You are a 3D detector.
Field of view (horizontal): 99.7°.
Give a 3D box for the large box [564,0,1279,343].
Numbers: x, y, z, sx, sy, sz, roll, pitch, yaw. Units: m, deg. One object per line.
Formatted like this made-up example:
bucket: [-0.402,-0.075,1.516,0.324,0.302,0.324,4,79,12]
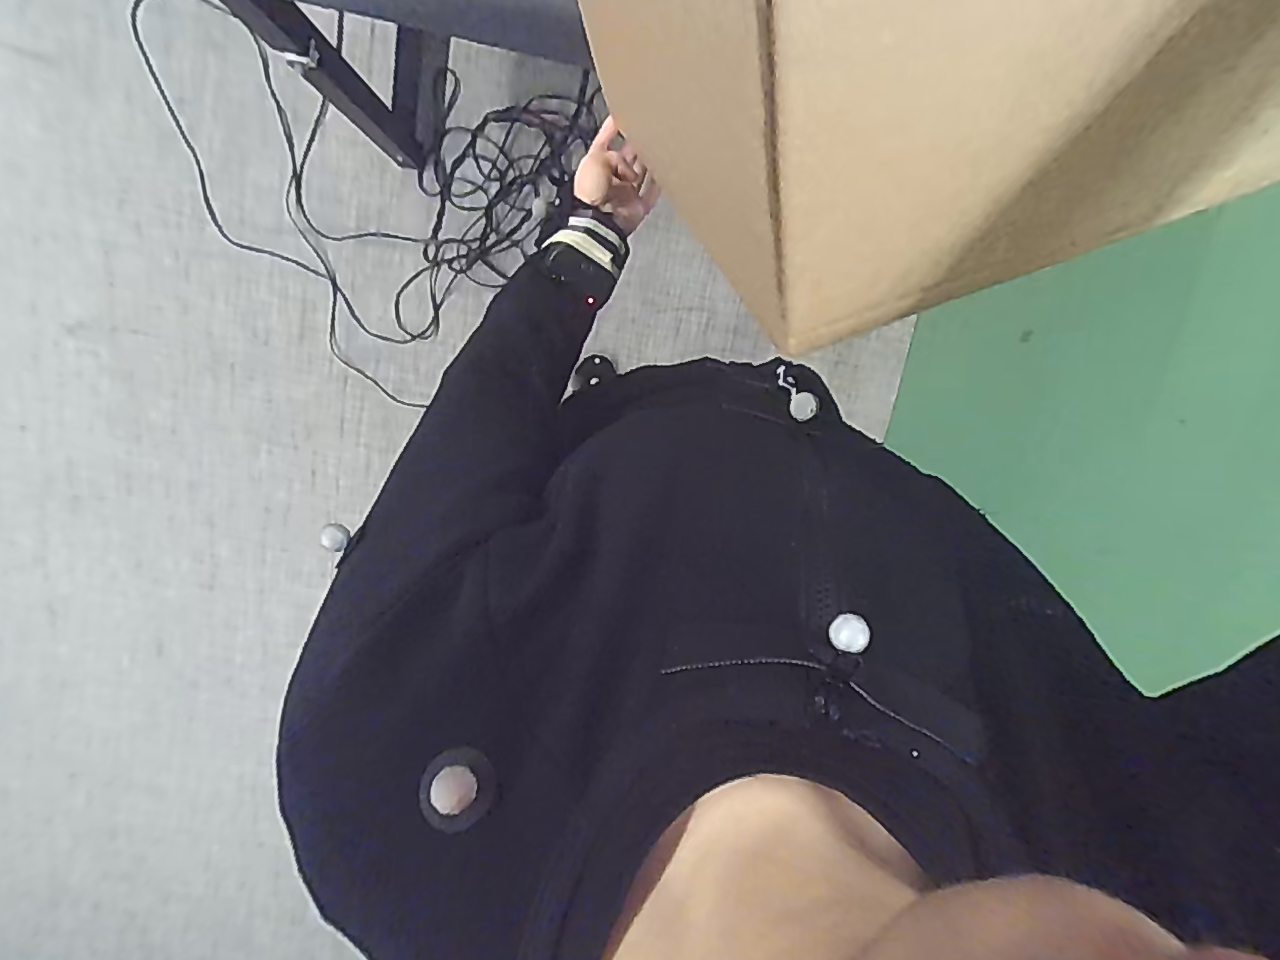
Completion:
large box: [0.122,-0.346,0.272,0.320,0.408,0.320,-22,140,0]
